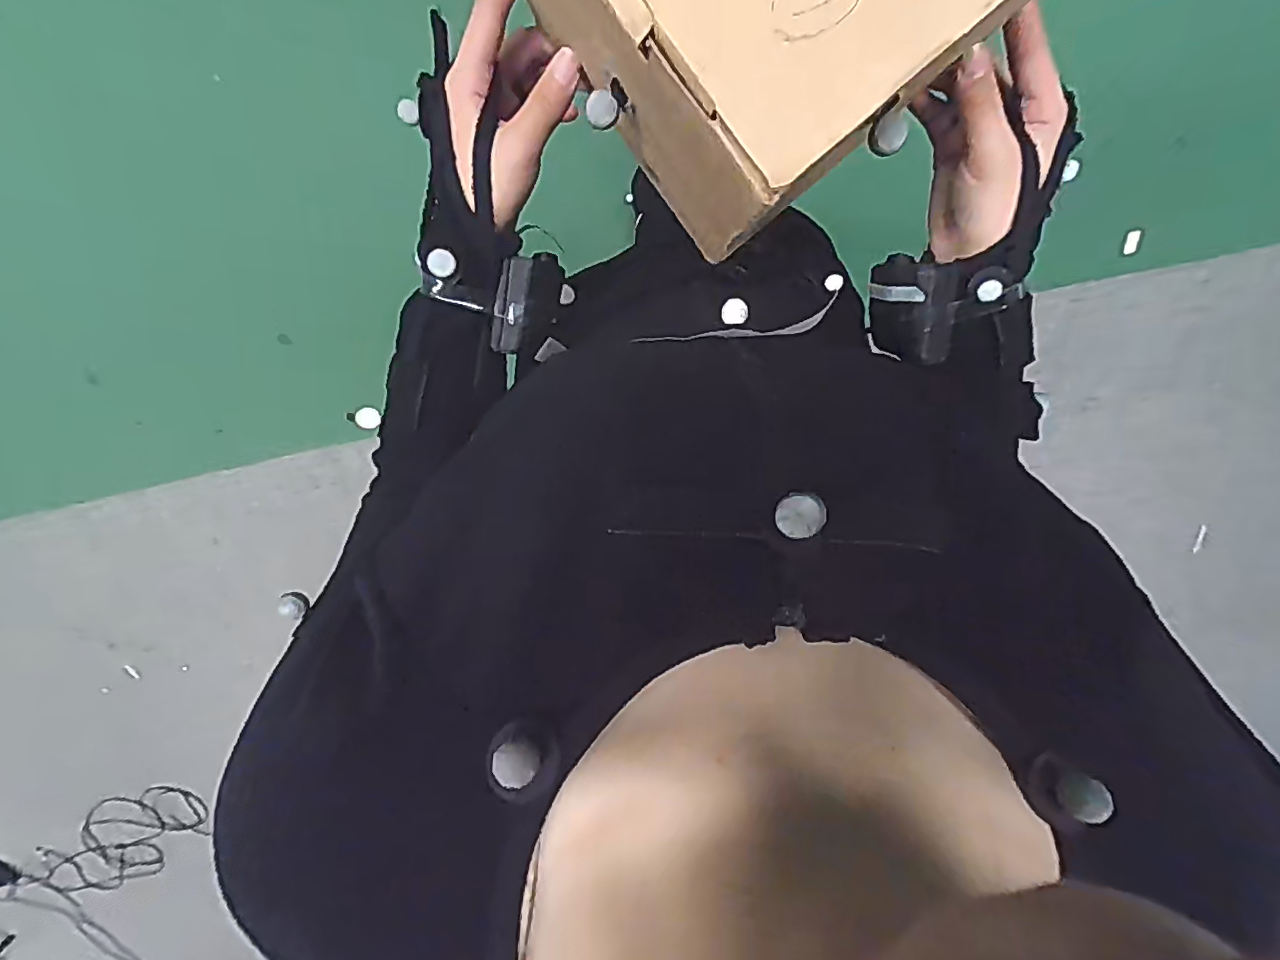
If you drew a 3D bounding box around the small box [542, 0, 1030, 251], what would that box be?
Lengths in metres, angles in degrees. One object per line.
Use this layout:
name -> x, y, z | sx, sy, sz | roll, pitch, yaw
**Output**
small box -> 0.057, -0.220, 0.215 | 0.179, 0.176, 0.168 | -37, 100, 12
